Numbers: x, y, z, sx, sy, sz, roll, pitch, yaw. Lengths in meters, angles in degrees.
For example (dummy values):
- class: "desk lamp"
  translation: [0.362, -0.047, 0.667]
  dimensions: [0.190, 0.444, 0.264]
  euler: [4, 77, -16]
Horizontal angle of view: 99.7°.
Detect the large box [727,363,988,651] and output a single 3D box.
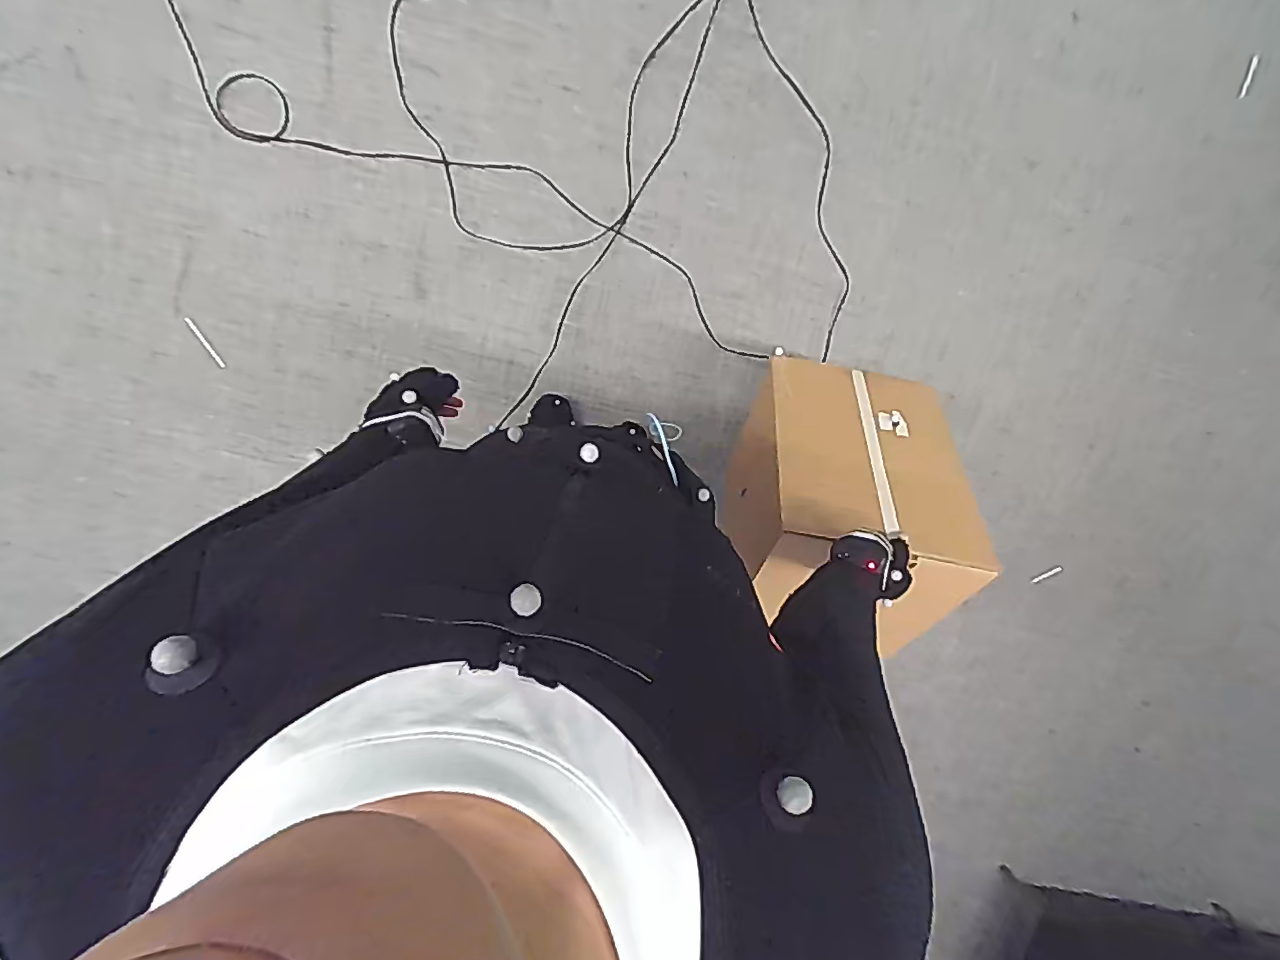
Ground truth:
- class: "large box"
  translation: [0.346, 0.049, 1.000]
  dimensions: [0.320, 0.408, 0.320]
  euler: [12, 138, -2]
